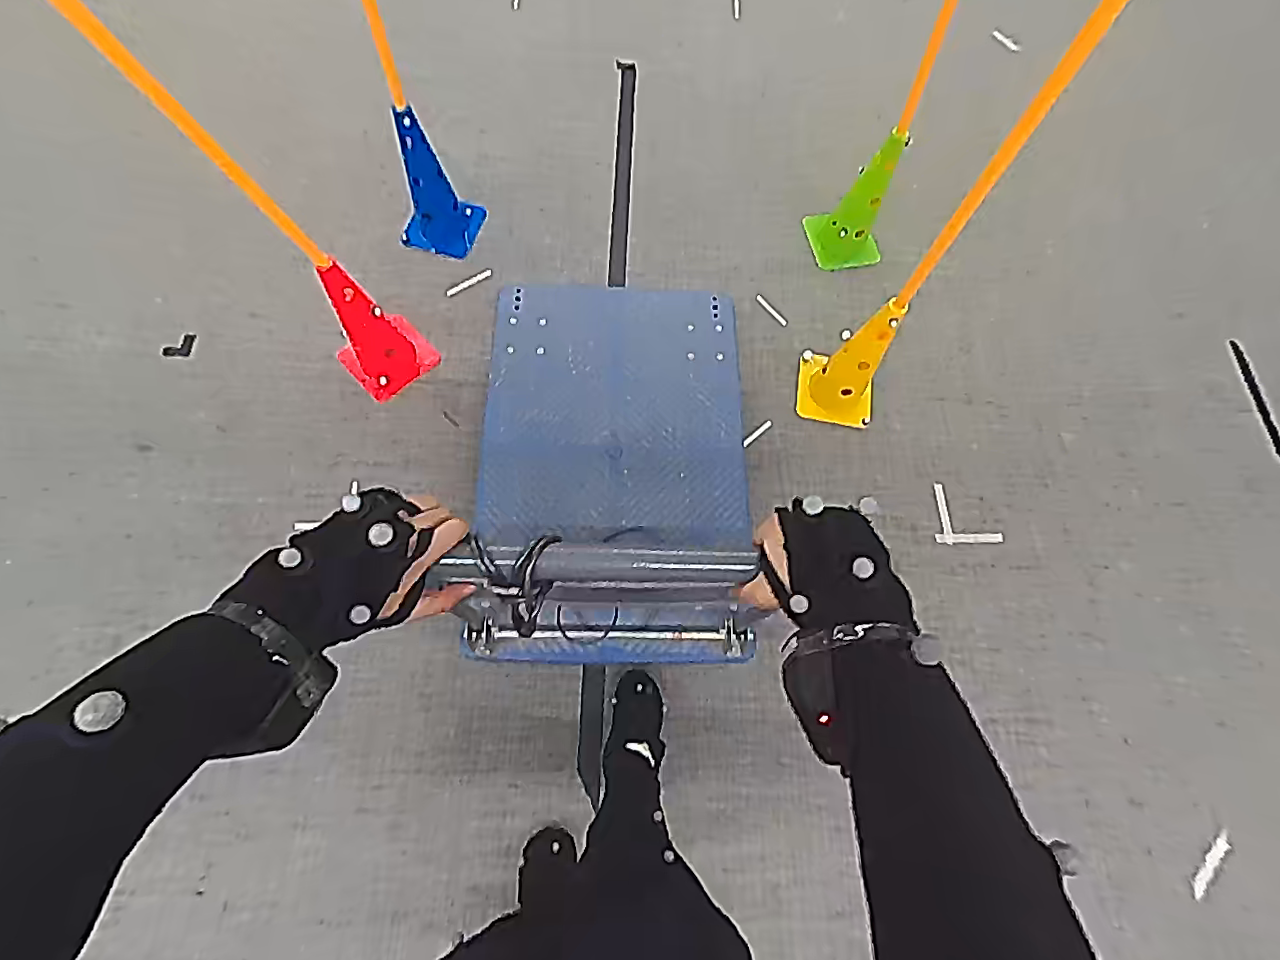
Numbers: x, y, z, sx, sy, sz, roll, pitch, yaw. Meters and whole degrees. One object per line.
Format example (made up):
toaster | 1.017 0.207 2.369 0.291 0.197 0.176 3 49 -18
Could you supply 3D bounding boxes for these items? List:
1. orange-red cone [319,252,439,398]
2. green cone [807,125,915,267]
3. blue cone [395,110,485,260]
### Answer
orange-red cone | -0.642 -0.387 1.256 0.199 0.360 0.198 -41 78 -17
green cone | 0.627 -0.787 1.470 0.200 0.368 0.202 -11 72 -7
blue cone | -0.553 -0.788 1.422 0.193 0.380 0.192 16 71 3
